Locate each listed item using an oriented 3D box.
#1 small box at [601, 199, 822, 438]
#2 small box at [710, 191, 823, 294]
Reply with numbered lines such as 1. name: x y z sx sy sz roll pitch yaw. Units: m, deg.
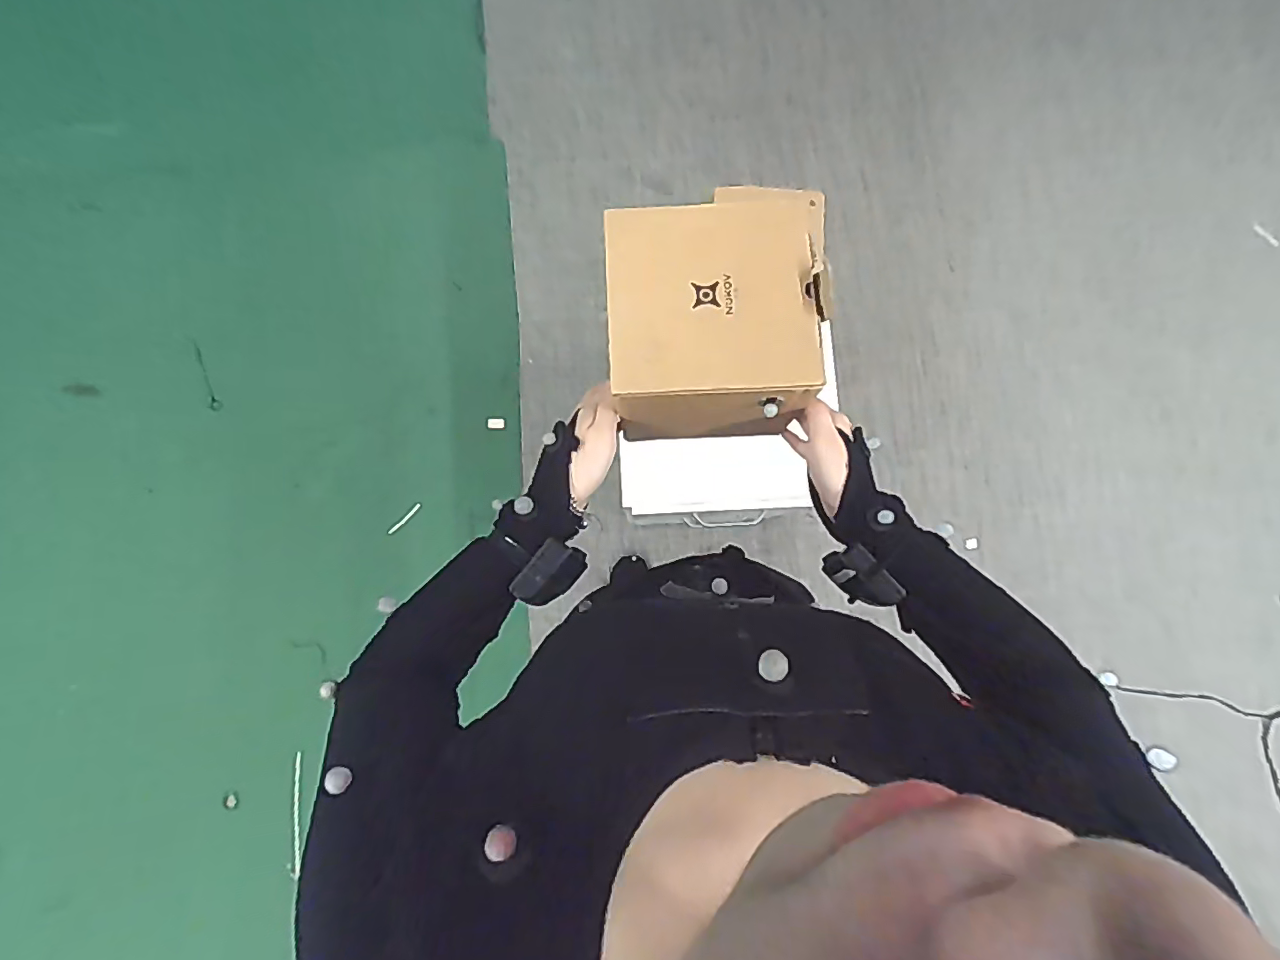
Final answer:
1. small box: 0.058 -0.140 0.524 0.179 0.176 0.168 -2 80 0
2. small box: 0.195 -0.357 0.913 0.179 0.176 0.168 4 82 1
